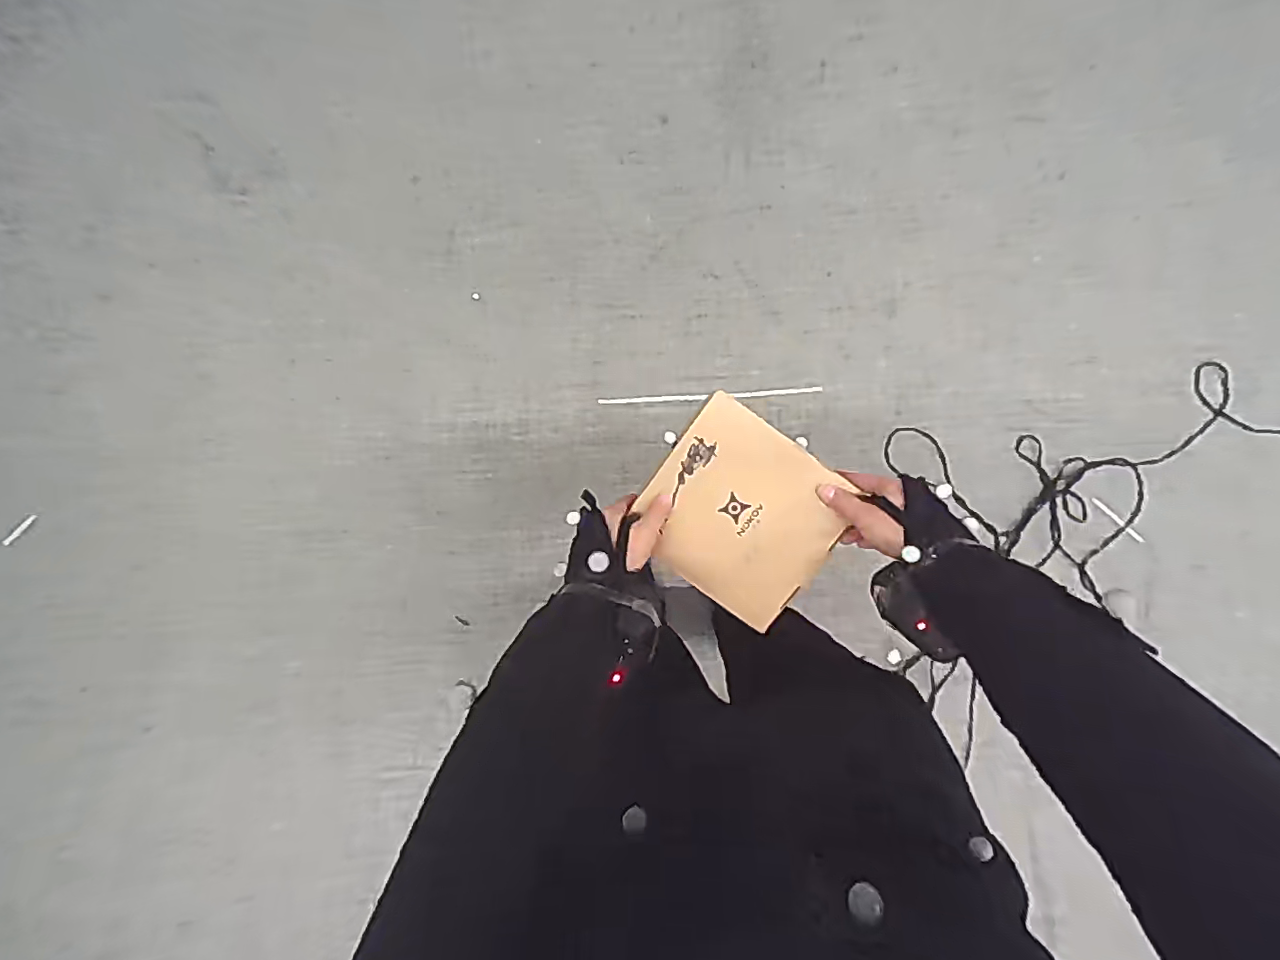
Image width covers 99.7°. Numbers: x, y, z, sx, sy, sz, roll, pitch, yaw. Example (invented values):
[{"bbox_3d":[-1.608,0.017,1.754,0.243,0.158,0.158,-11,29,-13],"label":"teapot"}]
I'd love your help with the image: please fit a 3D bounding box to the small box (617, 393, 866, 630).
[{"bbox_3d":[0.099,0.021,0.584,0.179,0.176,0.168,37,98,-1],"label":"small box"}]
